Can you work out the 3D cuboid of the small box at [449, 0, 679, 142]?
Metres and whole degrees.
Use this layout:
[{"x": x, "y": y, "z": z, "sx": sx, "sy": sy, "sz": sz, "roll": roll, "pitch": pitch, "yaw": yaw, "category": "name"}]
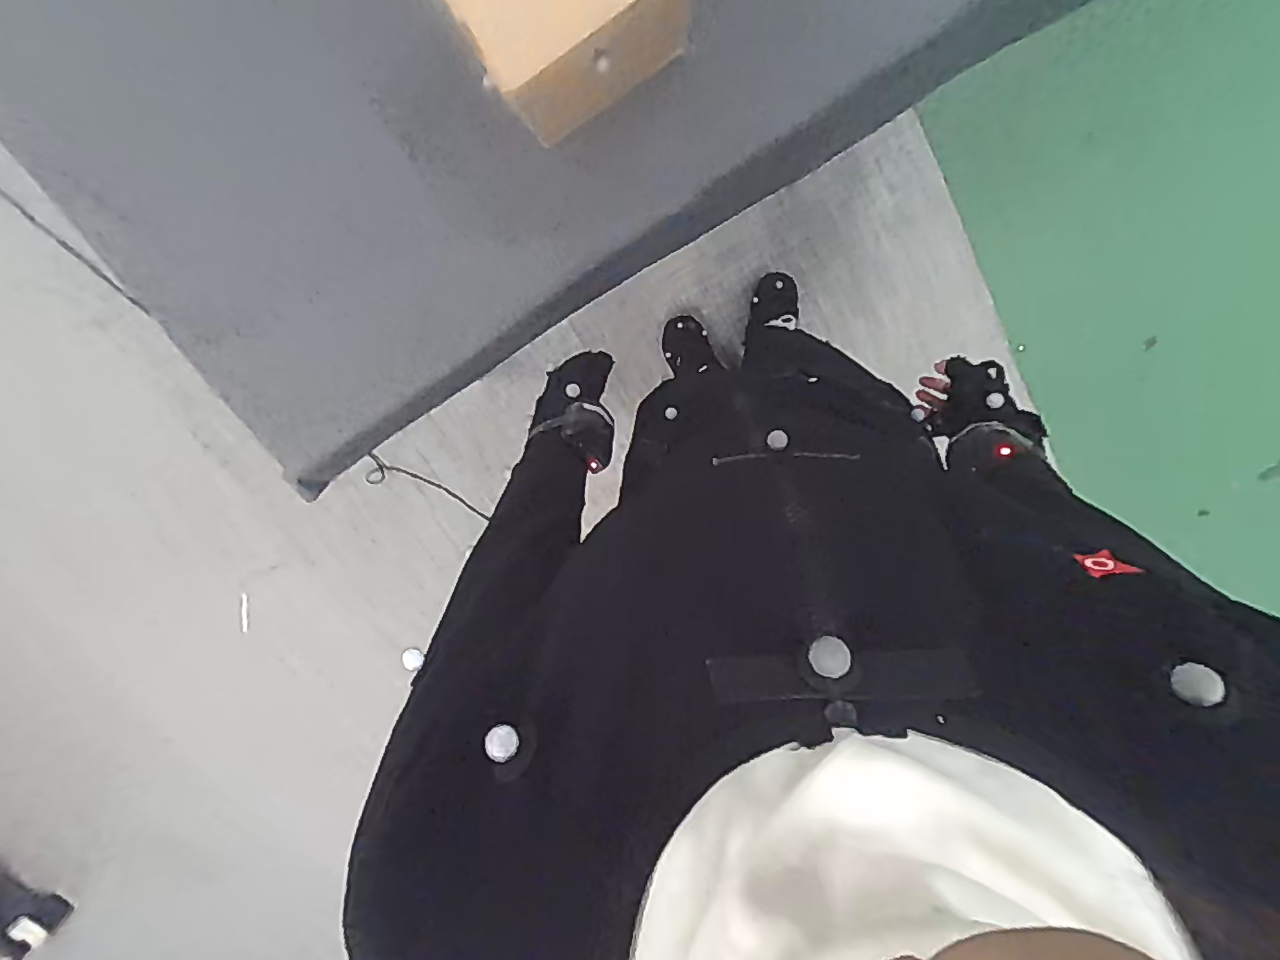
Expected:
[{"x": -0.073, "y": -0.443, "z": 0.481, "sx": 0.179, "sy": 0.176, "sz": 0.168, "roll": -29, "pitch": 105, "yaw": 11, "category": "small box"}]
